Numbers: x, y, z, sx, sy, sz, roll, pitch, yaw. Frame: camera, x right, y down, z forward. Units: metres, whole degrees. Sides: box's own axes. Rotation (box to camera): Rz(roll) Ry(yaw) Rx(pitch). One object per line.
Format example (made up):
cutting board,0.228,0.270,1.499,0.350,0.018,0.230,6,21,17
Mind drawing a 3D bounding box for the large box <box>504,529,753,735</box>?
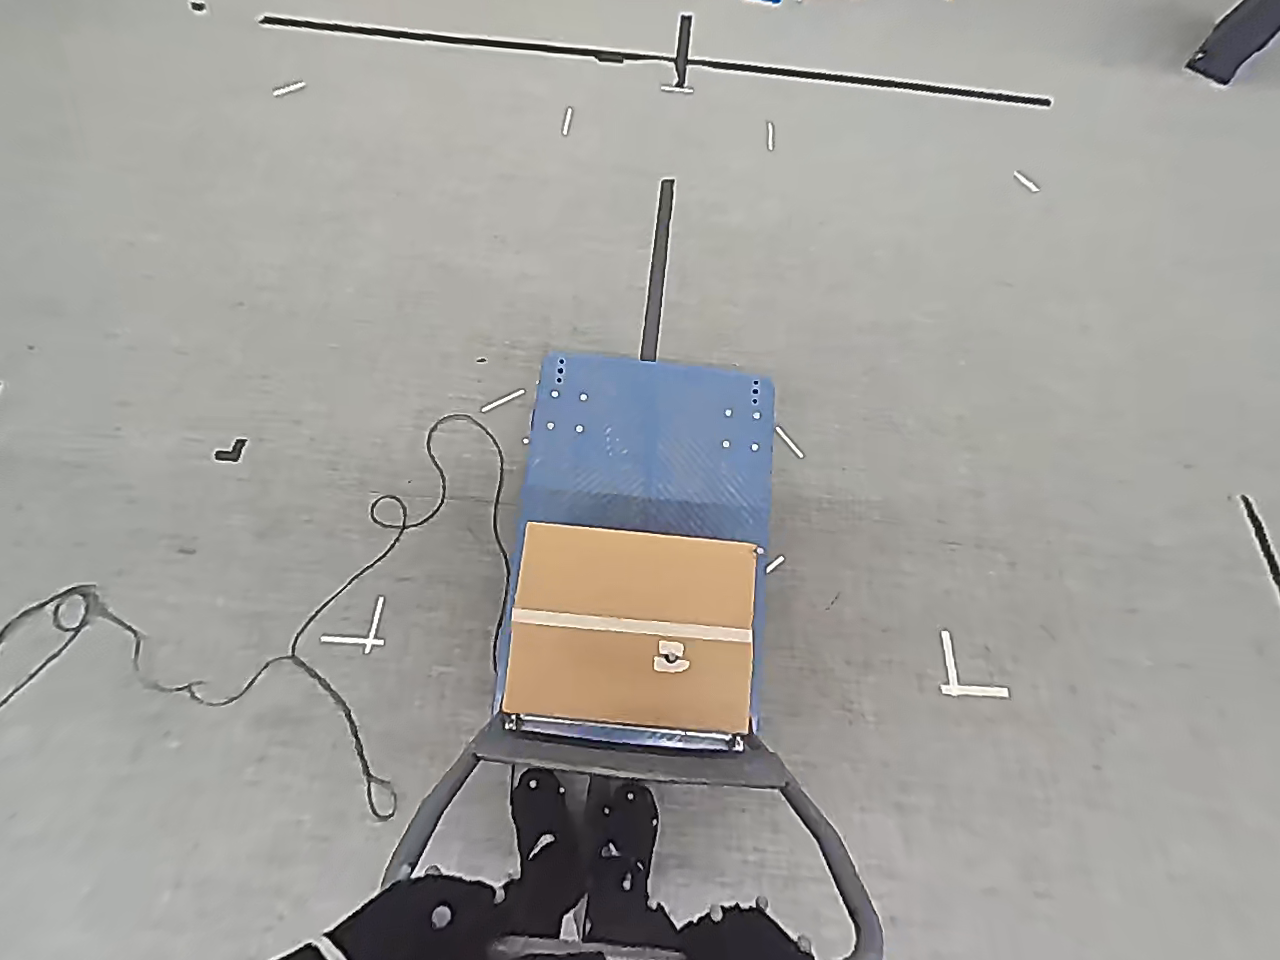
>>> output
large box,-0.021,0.282,1.049,0.408,0.320,0.320,6,78,-2
